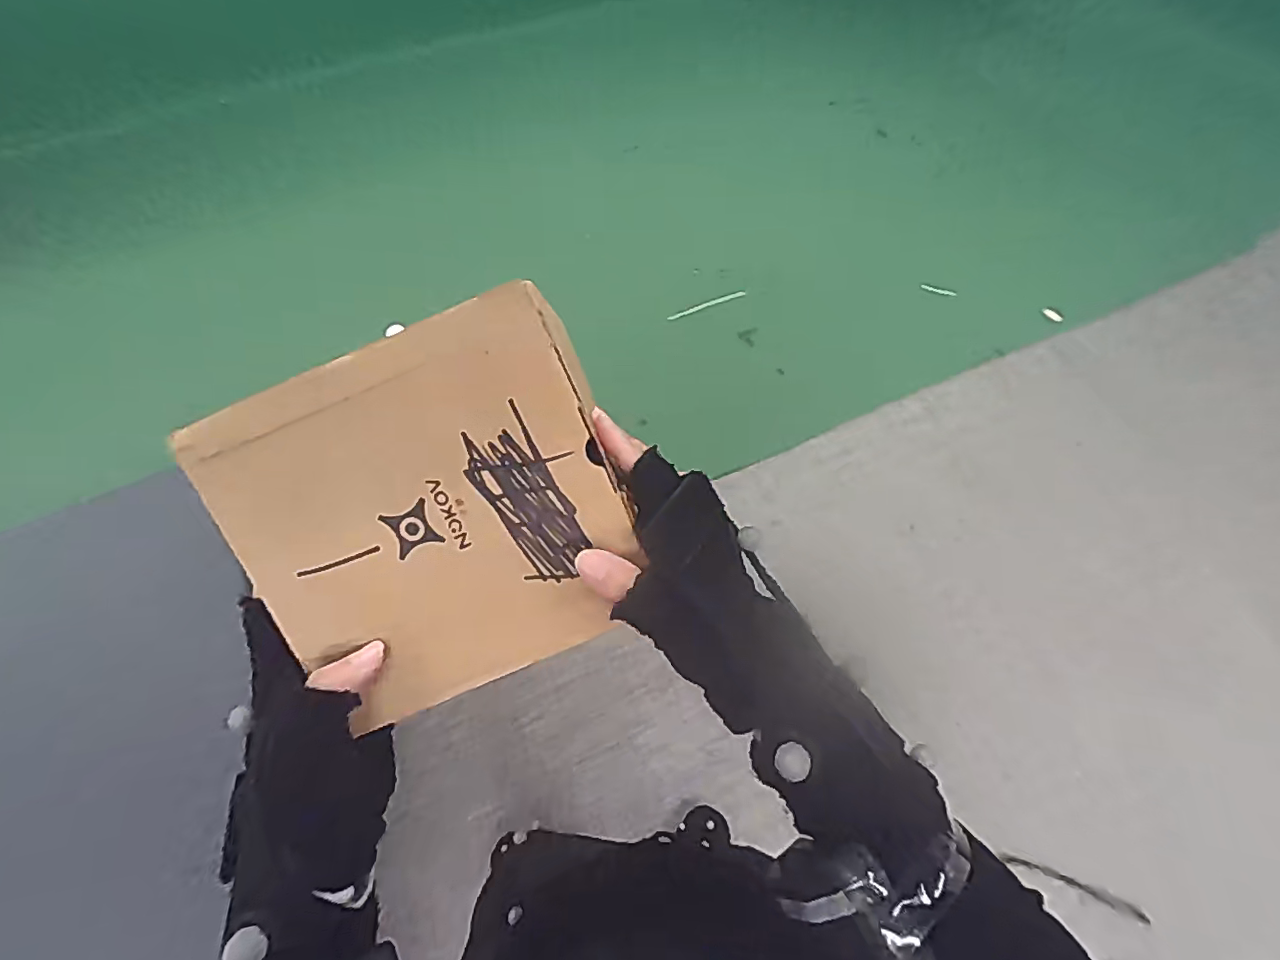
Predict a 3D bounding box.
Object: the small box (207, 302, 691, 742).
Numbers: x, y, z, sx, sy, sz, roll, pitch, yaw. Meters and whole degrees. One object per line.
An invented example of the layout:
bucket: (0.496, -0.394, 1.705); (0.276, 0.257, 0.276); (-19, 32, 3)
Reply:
small box: (-0.091, 0.011, 0.334); (0.179, 0.176, 0.168); (-25, 101, 1)
